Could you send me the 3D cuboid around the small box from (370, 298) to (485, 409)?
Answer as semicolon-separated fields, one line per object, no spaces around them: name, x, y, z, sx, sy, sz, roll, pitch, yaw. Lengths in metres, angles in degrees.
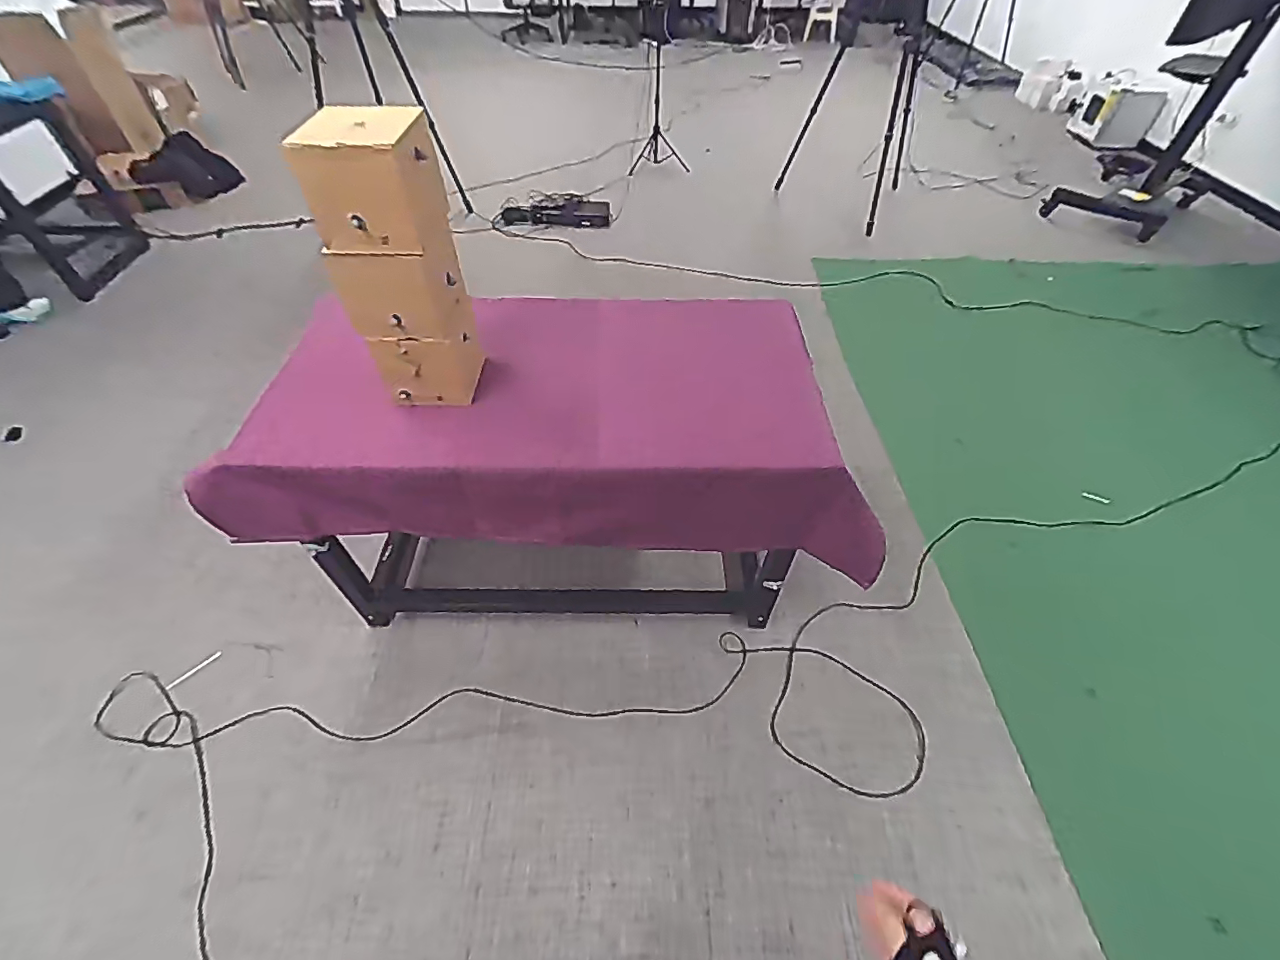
small box;-0.438;-0.266;1.150;0.168;0.176;0.179;1;48;-1

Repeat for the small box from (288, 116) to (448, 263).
small box;-0.436;-0.485;0.906;0.168;0.176;0.179;0;49;0

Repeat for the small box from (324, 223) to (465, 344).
small box;-0.448;-0.374;1.025;0.179;0.176;0.168;2;48;0
